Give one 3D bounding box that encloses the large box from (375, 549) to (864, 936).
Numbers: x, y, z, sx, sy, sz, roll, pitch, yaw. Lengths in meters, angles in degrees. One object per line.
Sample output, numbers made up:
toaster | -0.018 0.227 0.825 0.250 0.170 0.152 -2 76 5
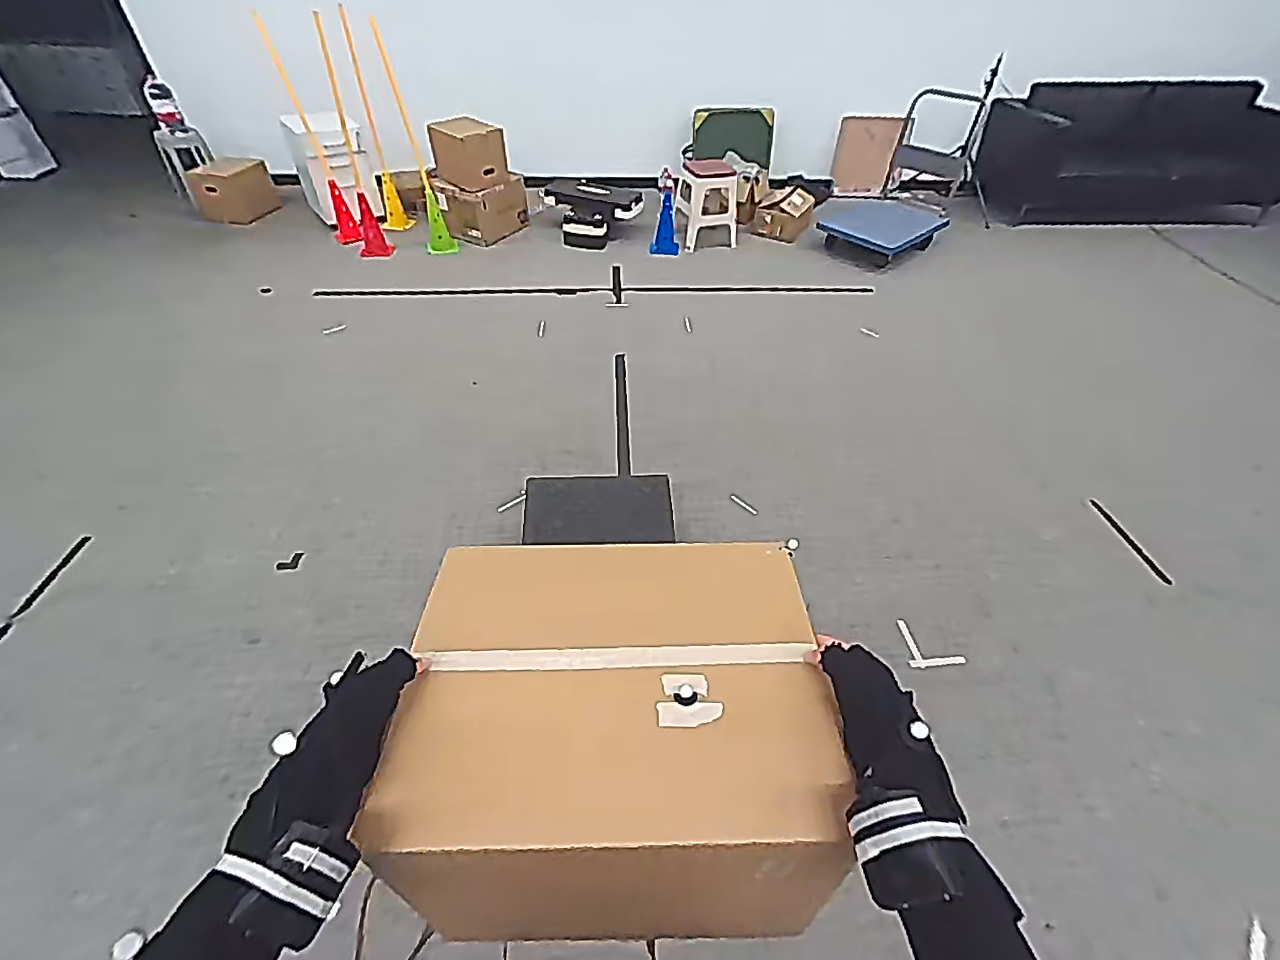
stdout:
large box | -0.019 0.300 0.639 0.408 0.320 0.320 -1 40 0
